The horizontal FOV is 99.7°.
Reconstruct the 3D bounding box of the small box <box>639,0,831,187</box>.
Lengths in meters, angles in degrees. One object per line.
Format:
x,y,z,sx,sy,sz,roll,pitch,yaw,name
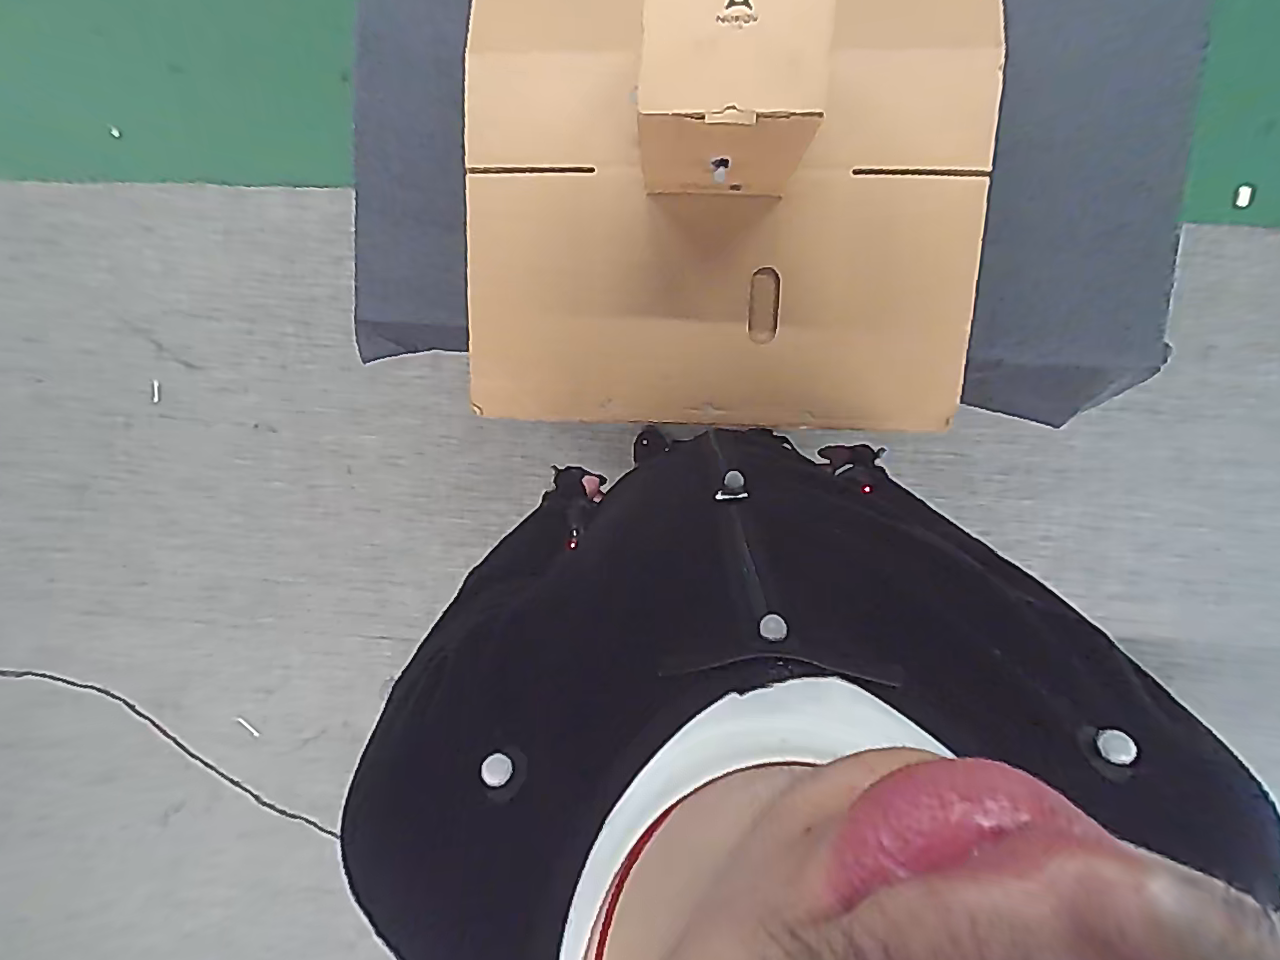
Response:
0.088,-0.414,0.543,0.168,0.176,0.179,1,96,4,small box
